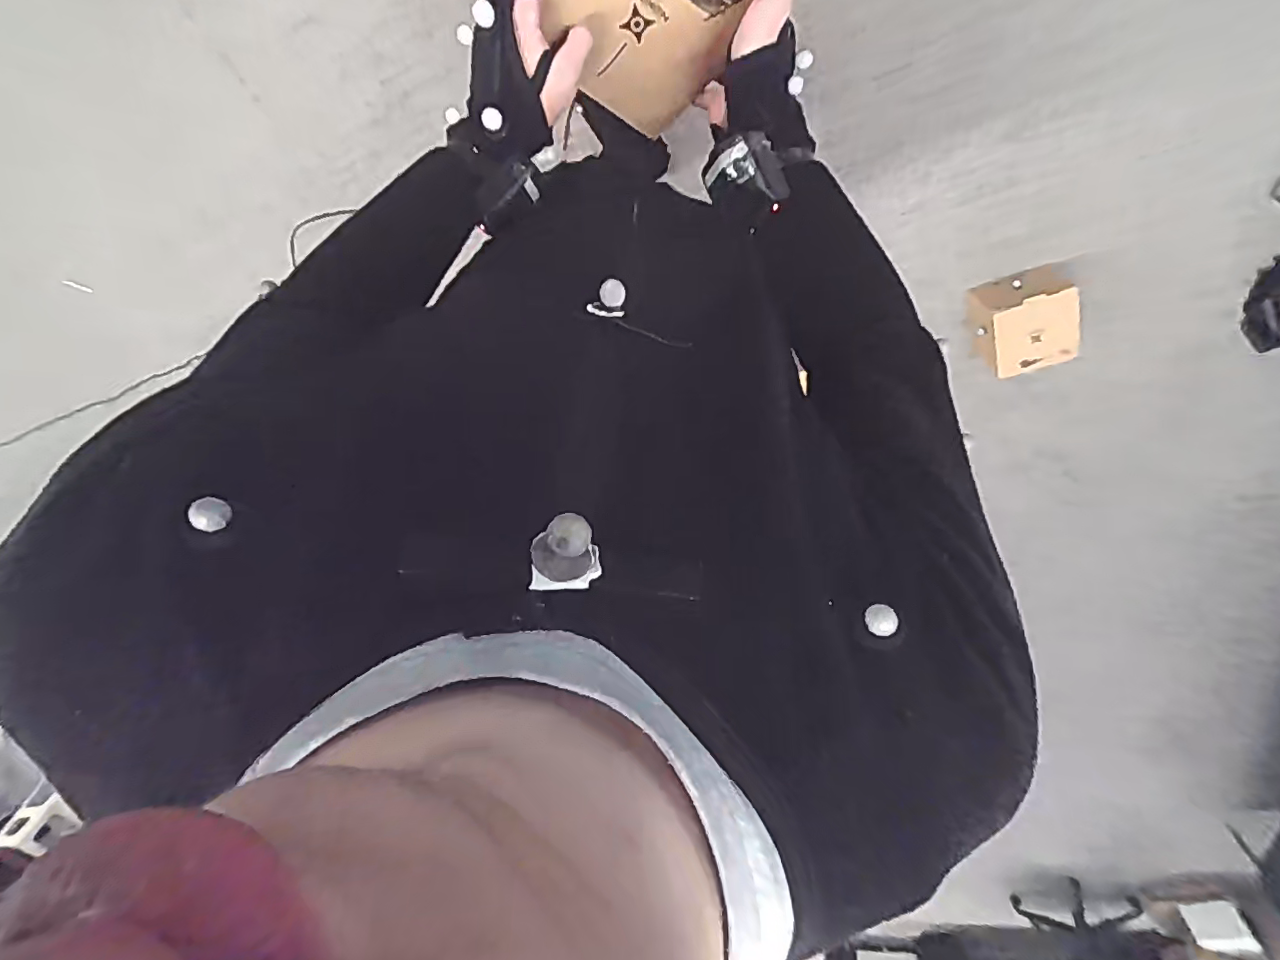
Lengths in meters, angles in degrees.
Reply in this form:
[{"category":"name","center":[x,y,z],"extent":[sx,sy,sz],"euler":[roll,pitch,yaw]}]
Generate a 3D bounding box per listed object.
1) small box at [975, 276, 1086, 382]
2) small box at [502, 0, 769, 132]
[{"category":"small box","center":[0.909,-0.361,1.271],"extent":[0.168,0.176,0.179],"euler":[-15,121,20]},{"category":"small box","center":[-0.001,-0.462,0.458],"extent":[0.168,0.176,0.179],"euler":[13,161,-35]}]
